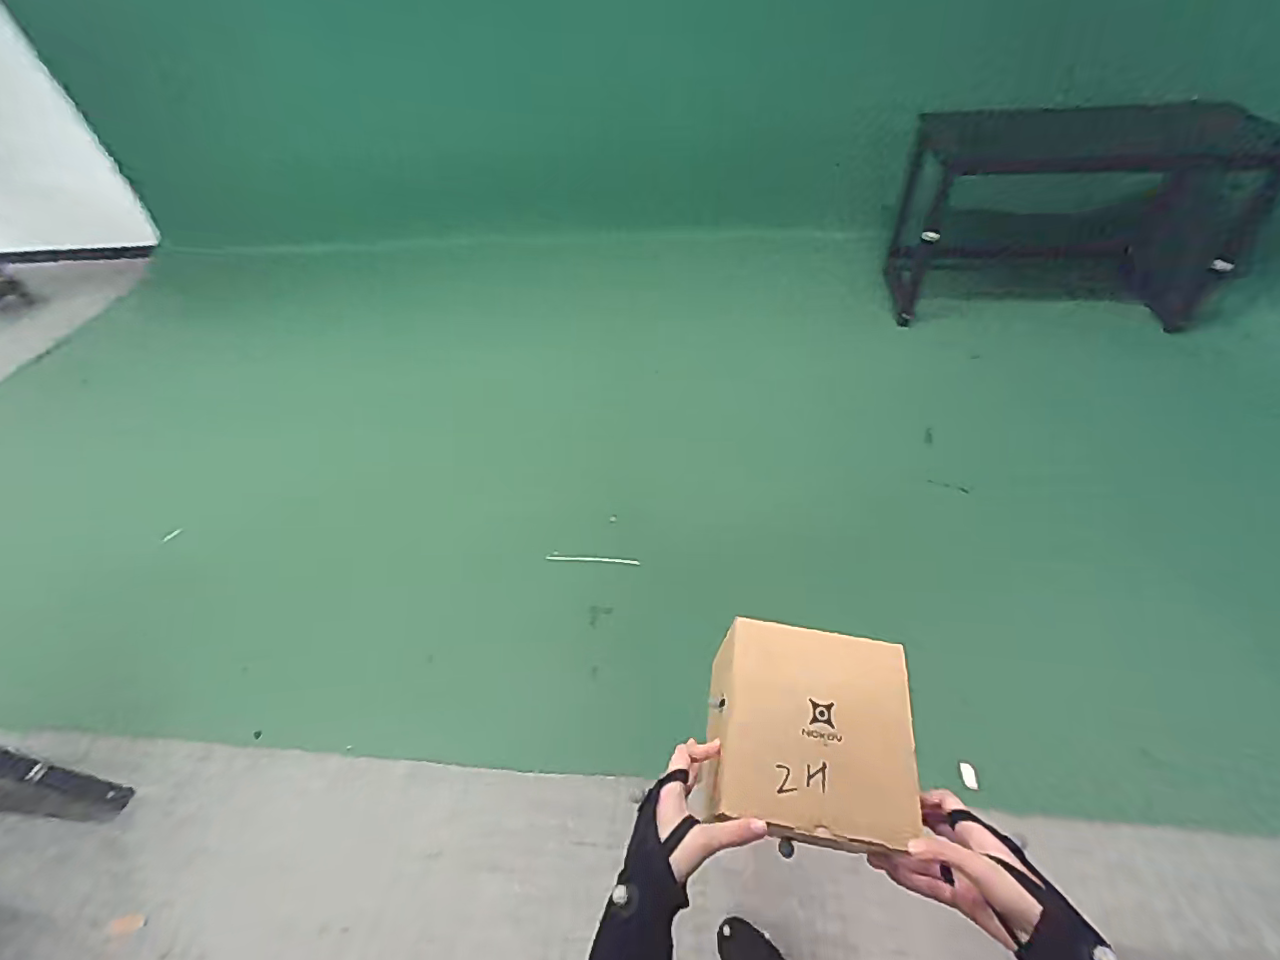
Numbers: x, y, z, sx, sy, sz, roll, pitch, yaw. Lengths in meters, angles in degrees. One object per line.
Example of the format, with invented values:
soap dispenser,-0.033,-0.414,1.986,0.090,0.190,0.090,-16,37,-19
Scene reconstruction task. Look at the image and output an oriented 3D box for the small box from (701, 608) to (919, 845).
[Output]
small box,0.157,0.255,0.554,0.168,0.176,0.179,8,56,5
